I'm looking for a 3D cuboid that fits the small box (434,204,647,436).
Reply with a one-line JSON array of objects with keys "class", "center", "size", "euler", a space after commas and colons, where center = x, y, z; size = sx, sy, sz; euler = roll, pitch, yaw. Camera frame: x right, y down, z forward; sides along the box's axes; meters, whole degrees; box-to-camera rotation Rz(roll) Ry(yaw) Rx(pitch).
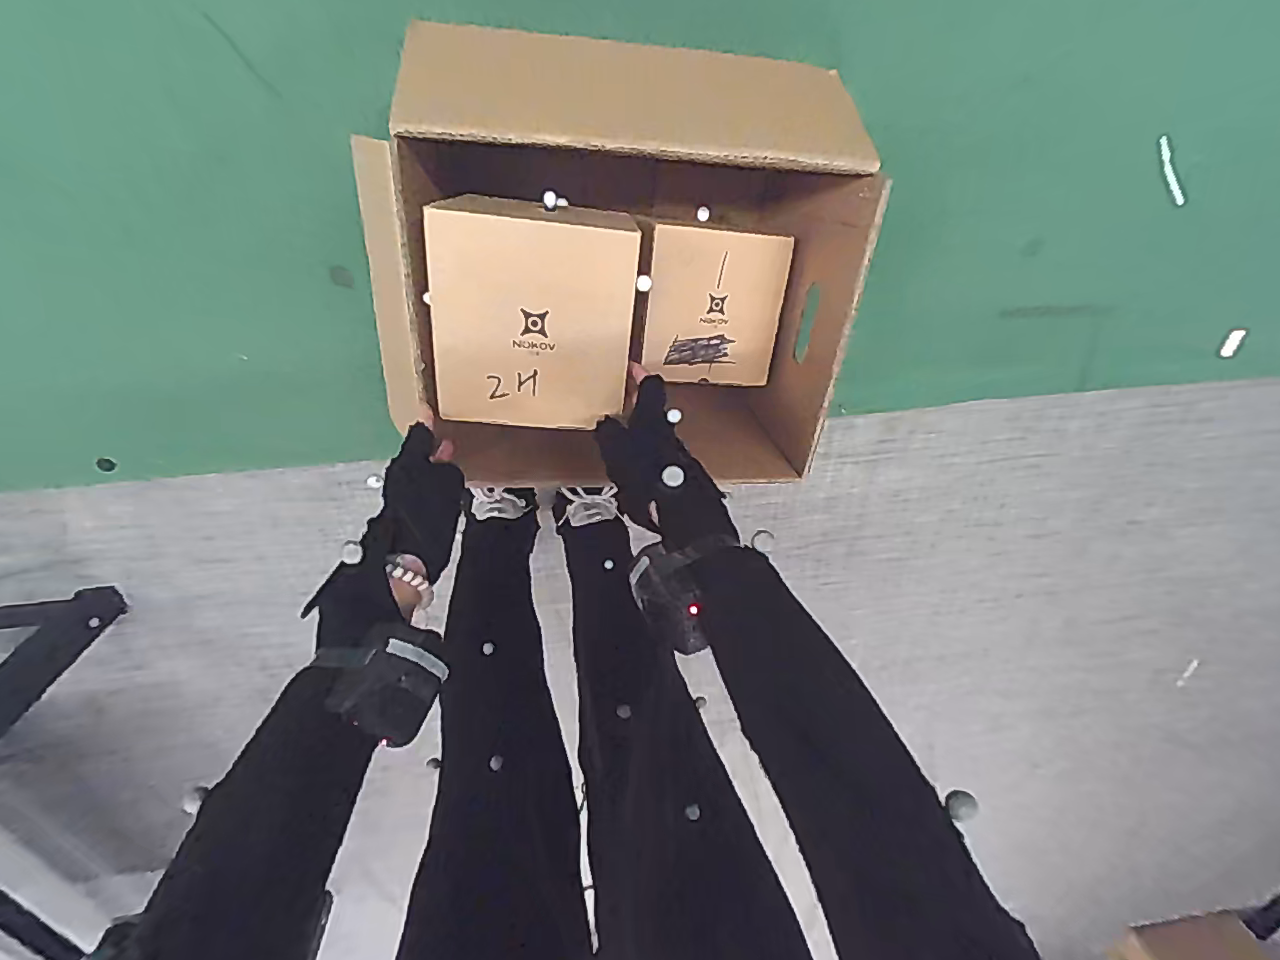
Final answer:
[{"class": "small box", "center": [-0.092, -0.160, 0.523], "size": [0.168, 0.176, 0.179], "euler": [4, 120, -7]}]
